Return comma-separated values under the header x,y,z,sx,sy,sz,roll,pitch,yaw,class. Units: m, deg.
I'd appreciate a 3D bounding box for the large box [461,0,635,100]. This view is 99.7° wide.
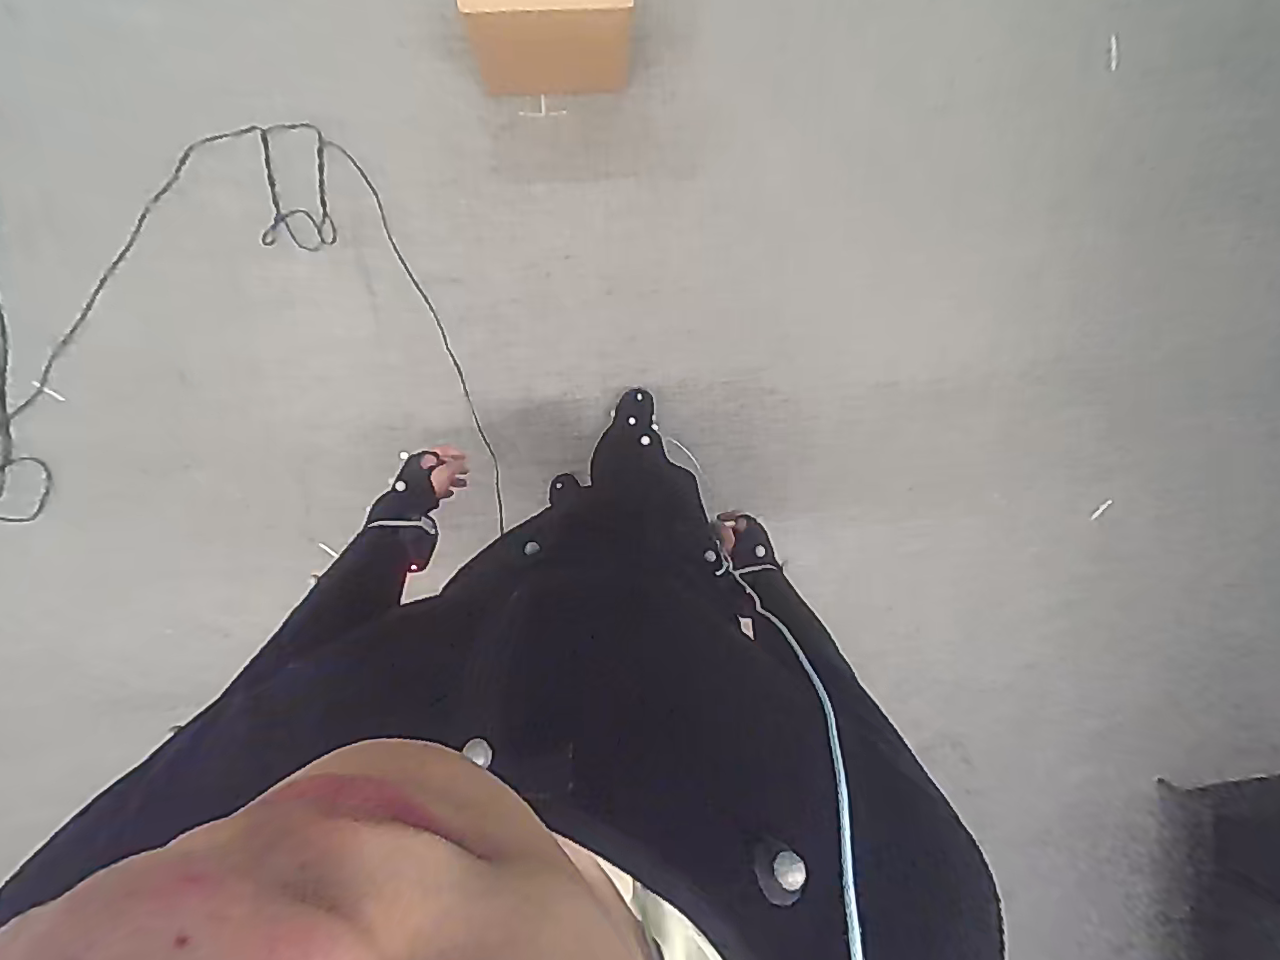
x,y,z,sx,sy,sz,roll,pitch,yaw,class
-0.241,-1.237,1.385,0.408,0.320,0.320,-7,95,-5,large box
